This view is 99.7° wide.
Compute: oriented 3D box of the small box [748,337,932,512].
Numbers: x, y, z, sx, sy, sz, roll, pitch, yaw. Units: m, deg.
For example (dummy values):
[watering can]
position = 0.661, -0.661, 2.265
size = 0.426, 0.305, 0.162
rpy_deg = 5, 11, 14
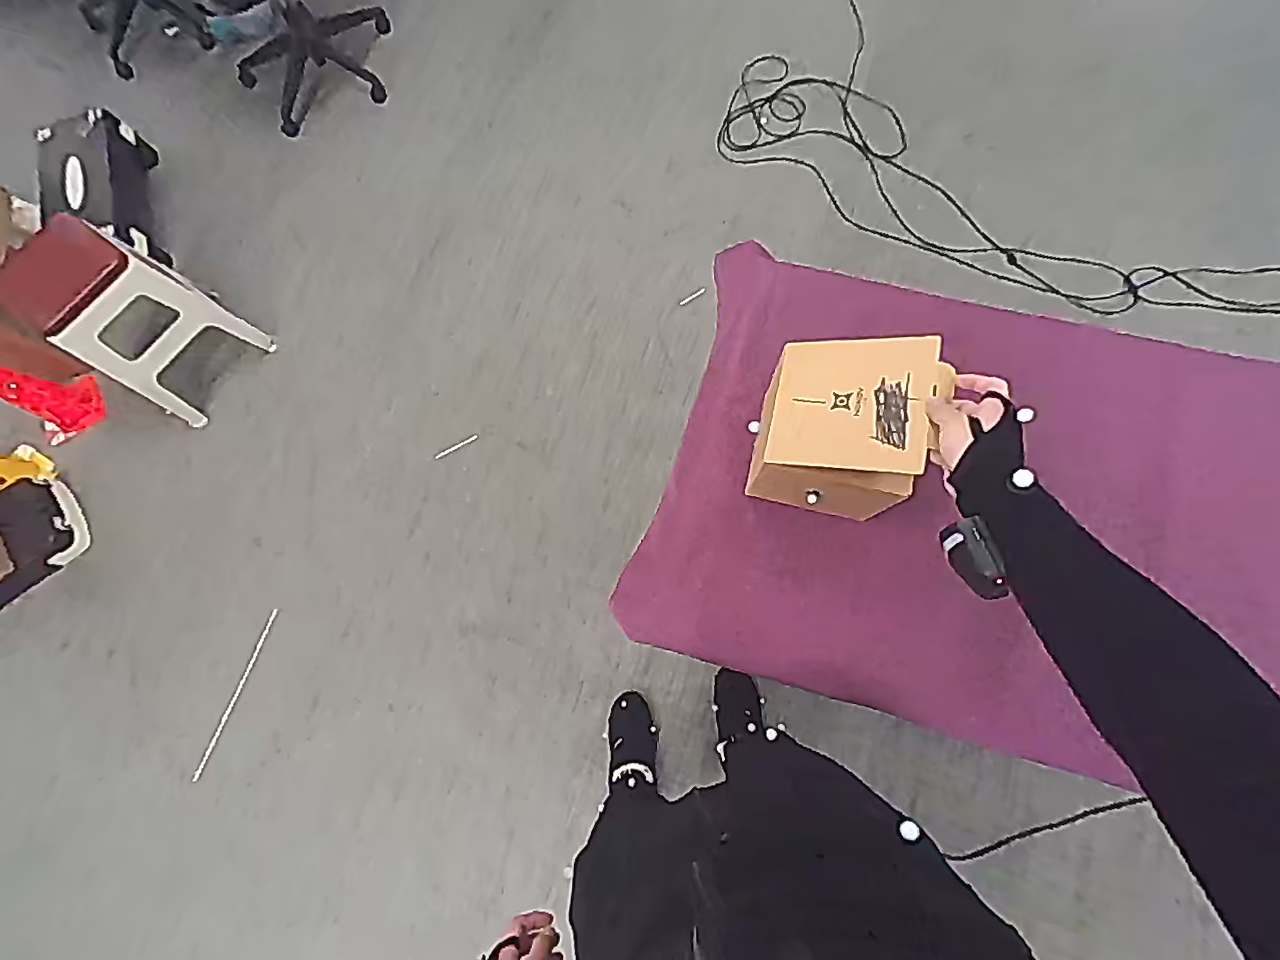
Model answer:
[small box]
position = 0.255, -0.064, 0.726
size = 0.179, 0.176, 0.168
rpy_deg = 15, 77, 8
